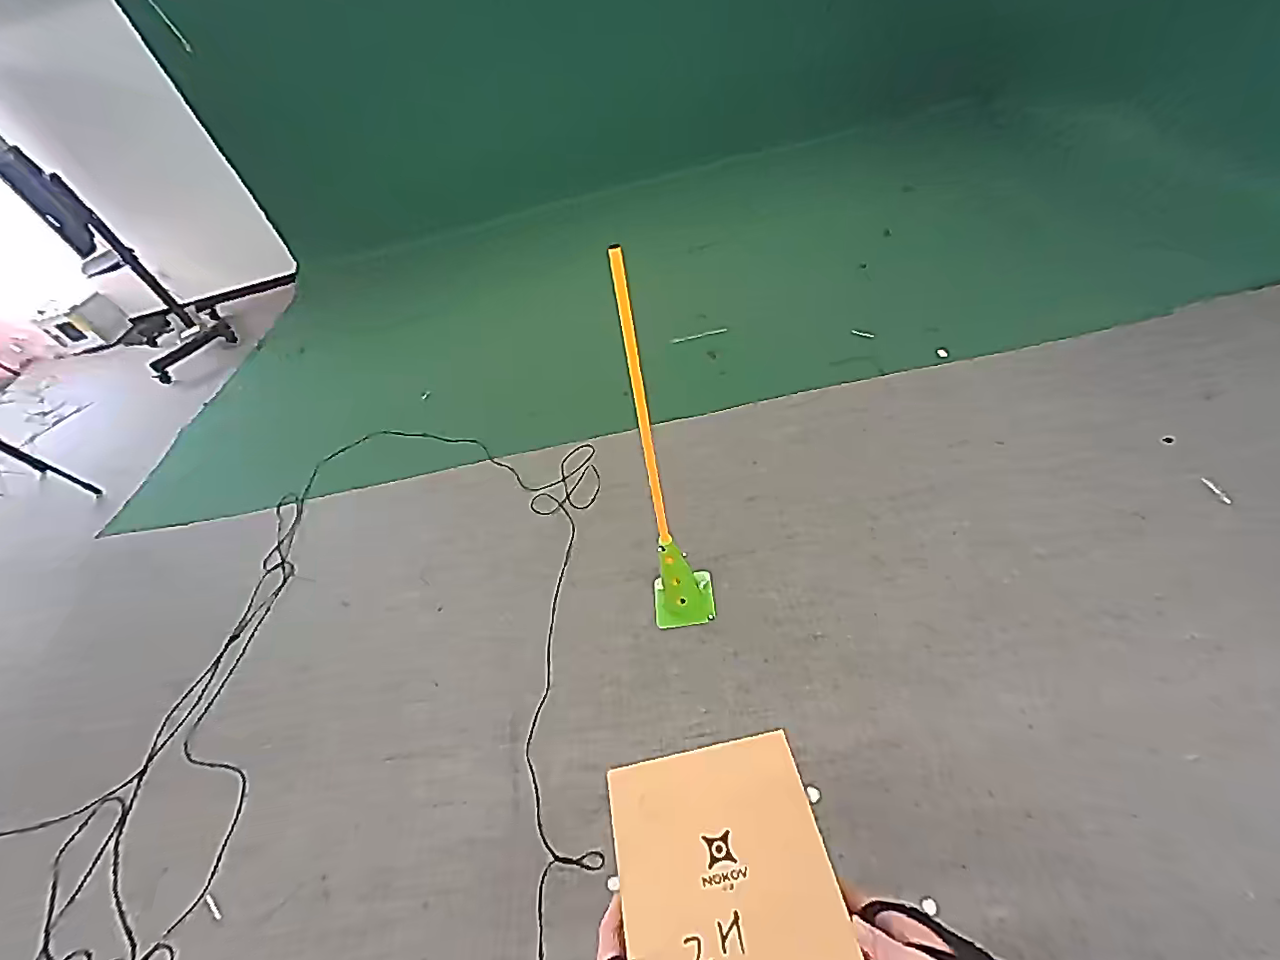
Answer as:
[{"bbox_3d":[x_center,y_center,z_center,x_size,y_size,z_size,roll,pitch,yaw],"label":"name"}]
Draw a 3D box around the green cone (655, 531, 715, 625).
[{"bbox_3d":[0.112,0.284,1.741,0.202,0.368,0.200,-11,45,9],"label":"green cone"}]
